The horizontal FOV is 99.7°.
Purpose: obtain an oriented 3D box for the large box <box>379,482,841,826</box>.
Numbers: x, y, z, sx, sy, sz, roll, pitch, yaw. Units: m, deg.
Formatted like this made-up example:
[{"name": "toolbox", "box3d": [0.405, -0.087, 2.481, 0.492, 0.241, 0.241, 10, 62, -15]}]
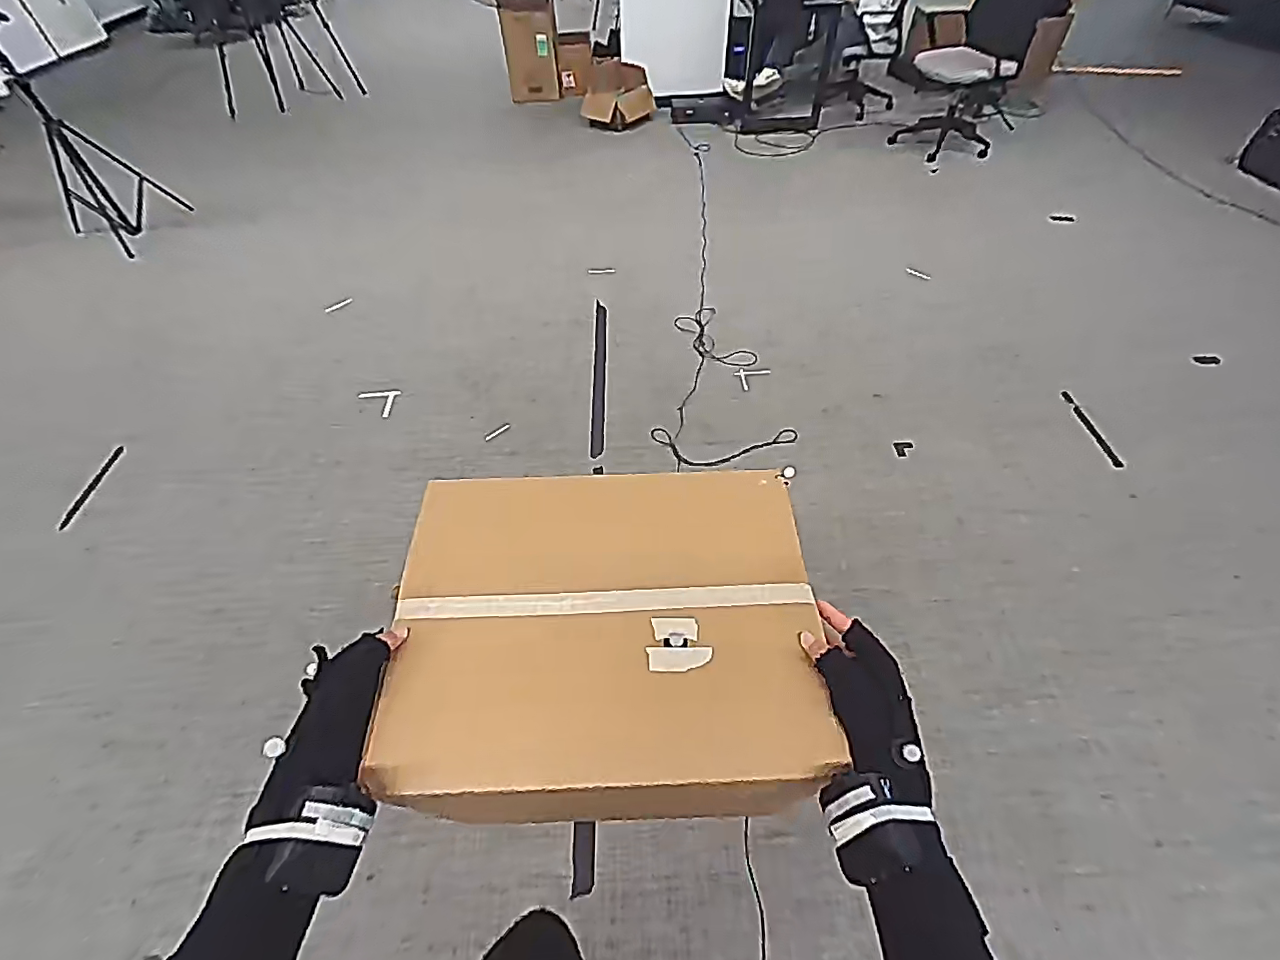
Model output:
[{"name": "large box", "box3d": [-0.031, 0.221, 0.664, 0.408, 0.320, 0.320, -2, 54, -1]}]
